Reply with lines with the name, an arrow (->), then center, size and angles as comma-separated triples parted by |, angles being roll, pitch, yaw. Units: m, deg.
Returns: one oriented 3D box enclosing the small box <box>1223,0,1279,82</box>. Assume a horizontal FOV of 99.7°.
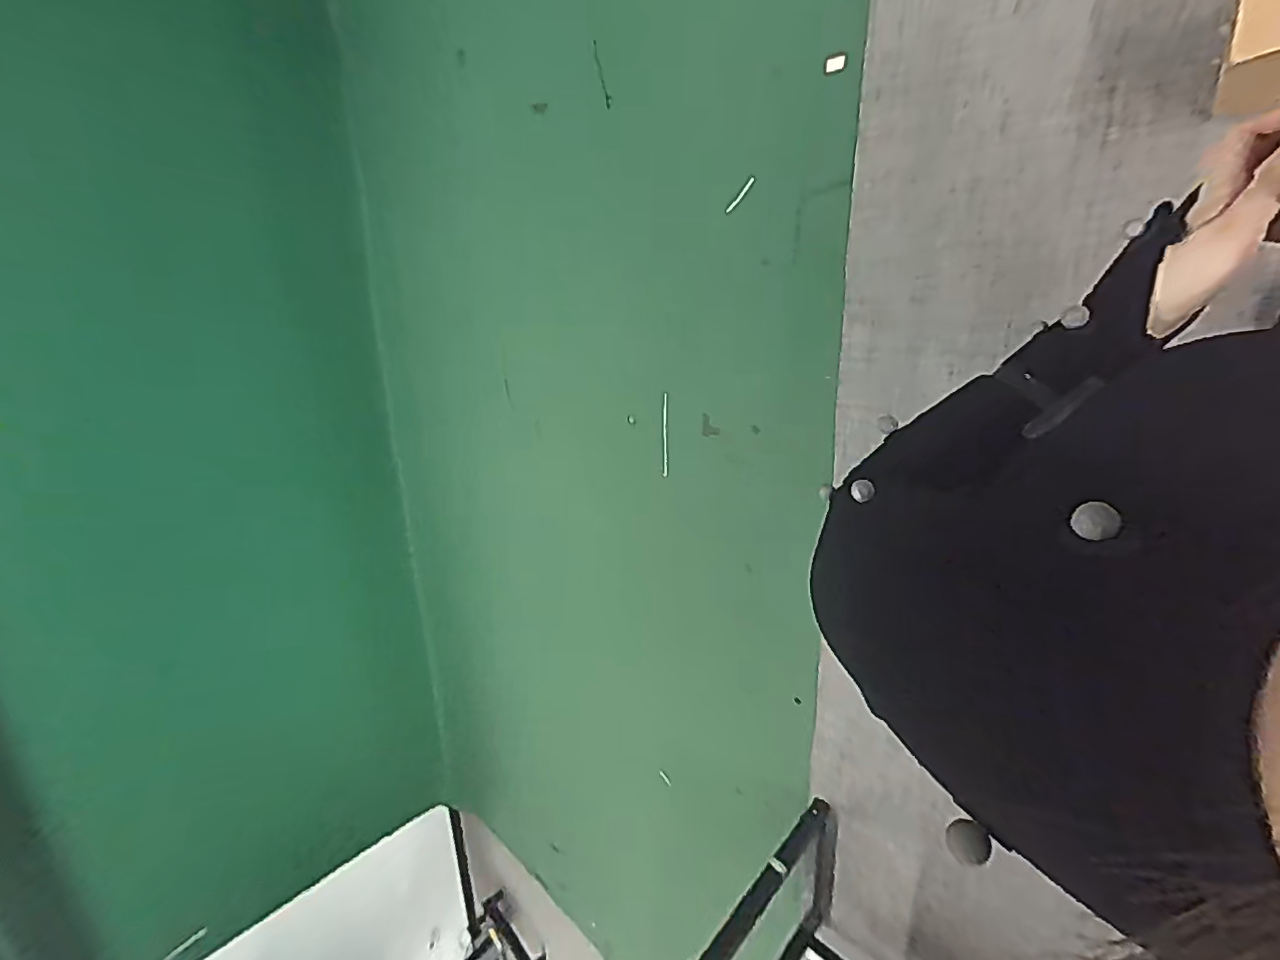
small box -> 0.904, -0.659, 0.712 | 0.168, 0.176, 0.179 | 10, 111, 43
